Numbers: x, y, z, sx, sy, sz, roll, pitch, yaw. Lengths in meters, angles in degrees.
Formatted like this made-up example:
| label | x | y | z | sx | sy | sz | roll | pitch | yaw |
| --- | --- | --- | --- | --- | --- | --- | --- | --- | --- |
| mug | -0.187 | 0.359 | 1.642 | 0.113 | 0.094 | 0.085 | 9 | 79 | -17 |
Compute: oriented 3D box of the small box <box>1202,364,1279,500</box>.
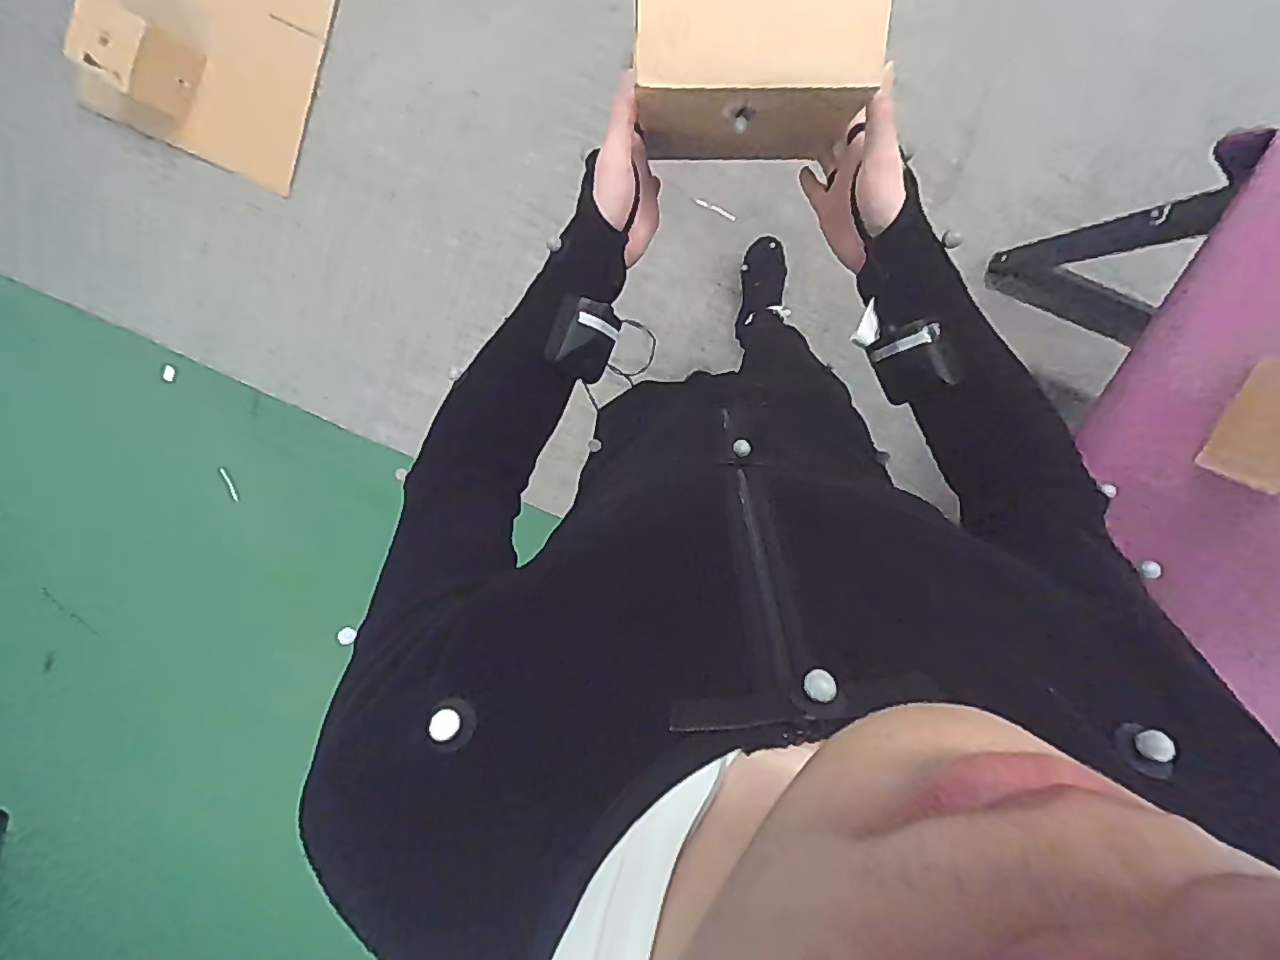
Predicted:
| label | x | y | z | sx | sy | sz | roll | pitch | yaw |
| --- | --- | --- | --- | --- | --- | --- | --- | --- | --- |
| small box | 0.968 | -0.053 | 0.757 | 0.168 | 0.176 | 0.179 | 21 | 103 | -2 |

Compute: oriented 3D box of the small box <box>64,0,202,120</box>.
| label | x | y | z | sx | sy | sz | roll | pitch | yaw |
| --- | --- | --- | --- | --- | --- | --- | --- | --- | --- |
| small box | -1.257 | -1.059 | 1.356 | 0.168 | 0.176 | 0.179 | 32 | 103 | -5 |

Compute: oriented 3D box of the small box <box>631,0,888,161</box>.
| label | x | y | z | sx | sy | sz | roll | pitch | yaw |
| --- | --- | --- | --- | --- | --- | --- | --- | --- | --- |
| small box | 0.087 | -0.374 | 0.439 | 0.179 | 0.176 | 0.168 | 2 | 105 | 2 |
